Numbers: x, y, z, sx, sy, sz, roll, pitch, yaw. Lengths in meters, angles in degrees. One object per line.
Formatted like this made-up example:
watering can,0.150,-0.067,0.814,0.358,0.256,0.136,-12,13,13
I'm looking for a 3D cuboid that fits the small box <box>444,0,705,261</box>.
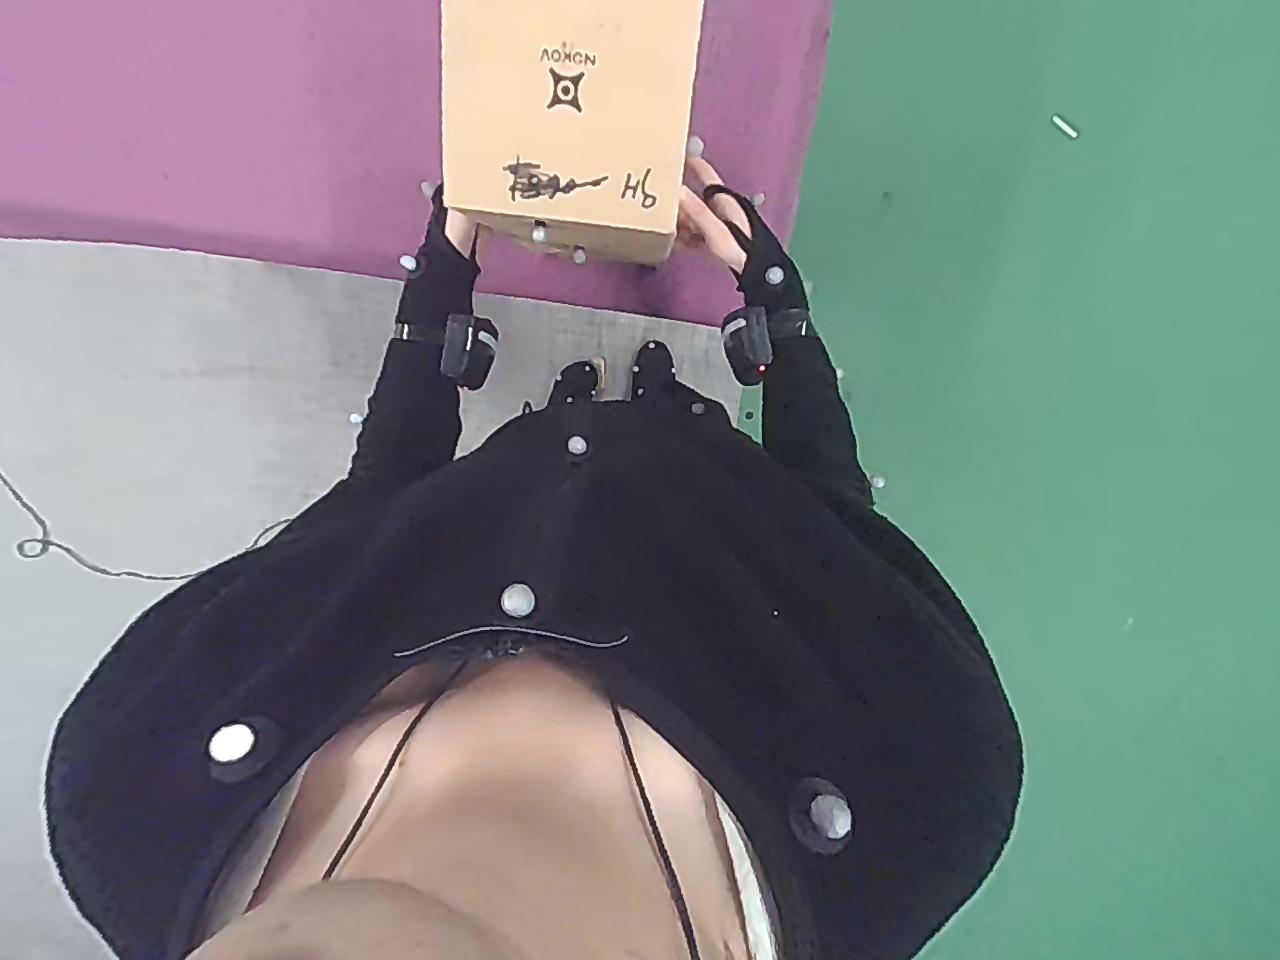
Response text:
small box,-0.045,-0.284,0.434,0.168,0.176,0.179,7,108,1
